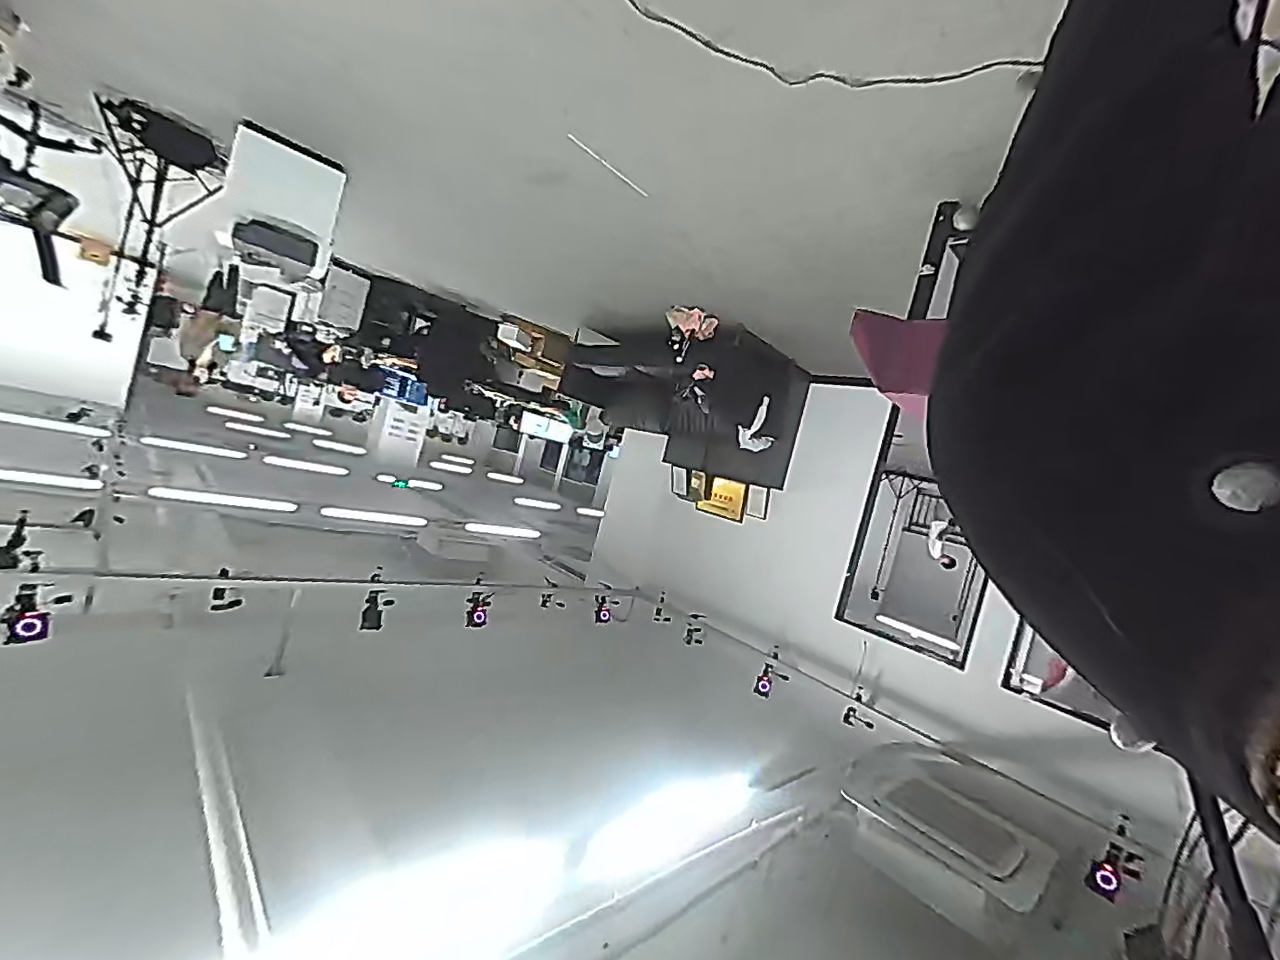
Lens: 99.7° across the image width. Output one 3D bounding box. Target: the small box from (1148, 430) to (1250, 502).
[{"bbox_3d":[1.660,-0.047,1.609,0.168,0.176,0.179,13,-177,-42],"label":"small box"}]
